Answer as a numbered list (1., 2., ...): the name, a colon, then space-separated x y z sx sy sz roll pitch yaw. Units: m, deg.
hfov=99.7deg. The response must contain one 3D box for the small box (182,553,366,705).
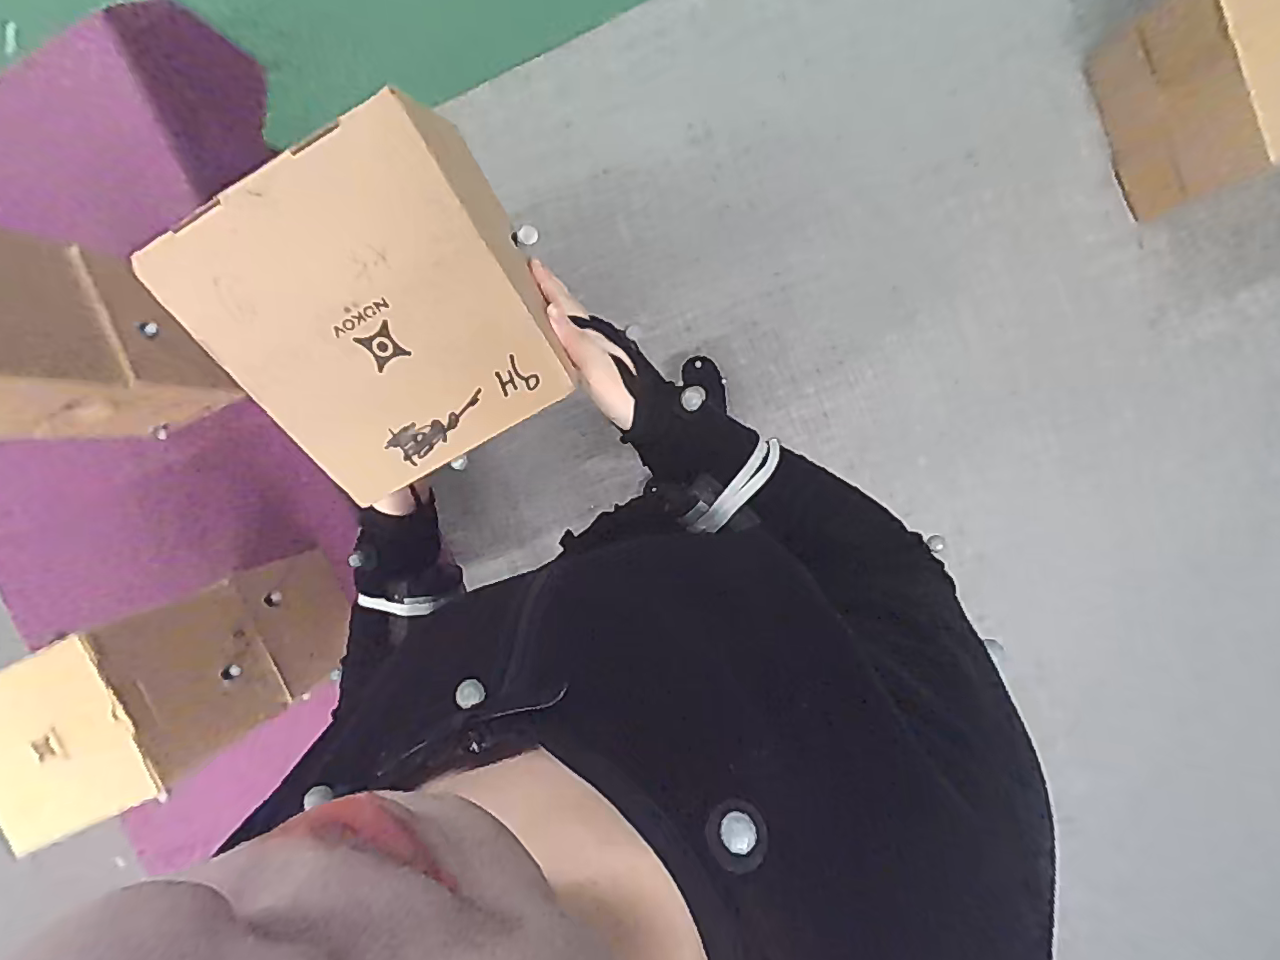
1. small box: -0.526 0.214 0.747 0.168 0.176 0.179 -25 93 7

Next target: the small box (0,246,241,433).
1. small box: -0.693 -0.174 0.724 0.168 0.176 0.179 -23 92 7

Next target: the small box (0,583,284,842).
1. small box: -0.544 0.234 0.586 0.179 0.176 0.168 -25 92 6

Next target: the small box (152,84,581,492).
1. small box: -0.154 -0.128 0.379 0.168 0.176 0.179 -25 118 7
